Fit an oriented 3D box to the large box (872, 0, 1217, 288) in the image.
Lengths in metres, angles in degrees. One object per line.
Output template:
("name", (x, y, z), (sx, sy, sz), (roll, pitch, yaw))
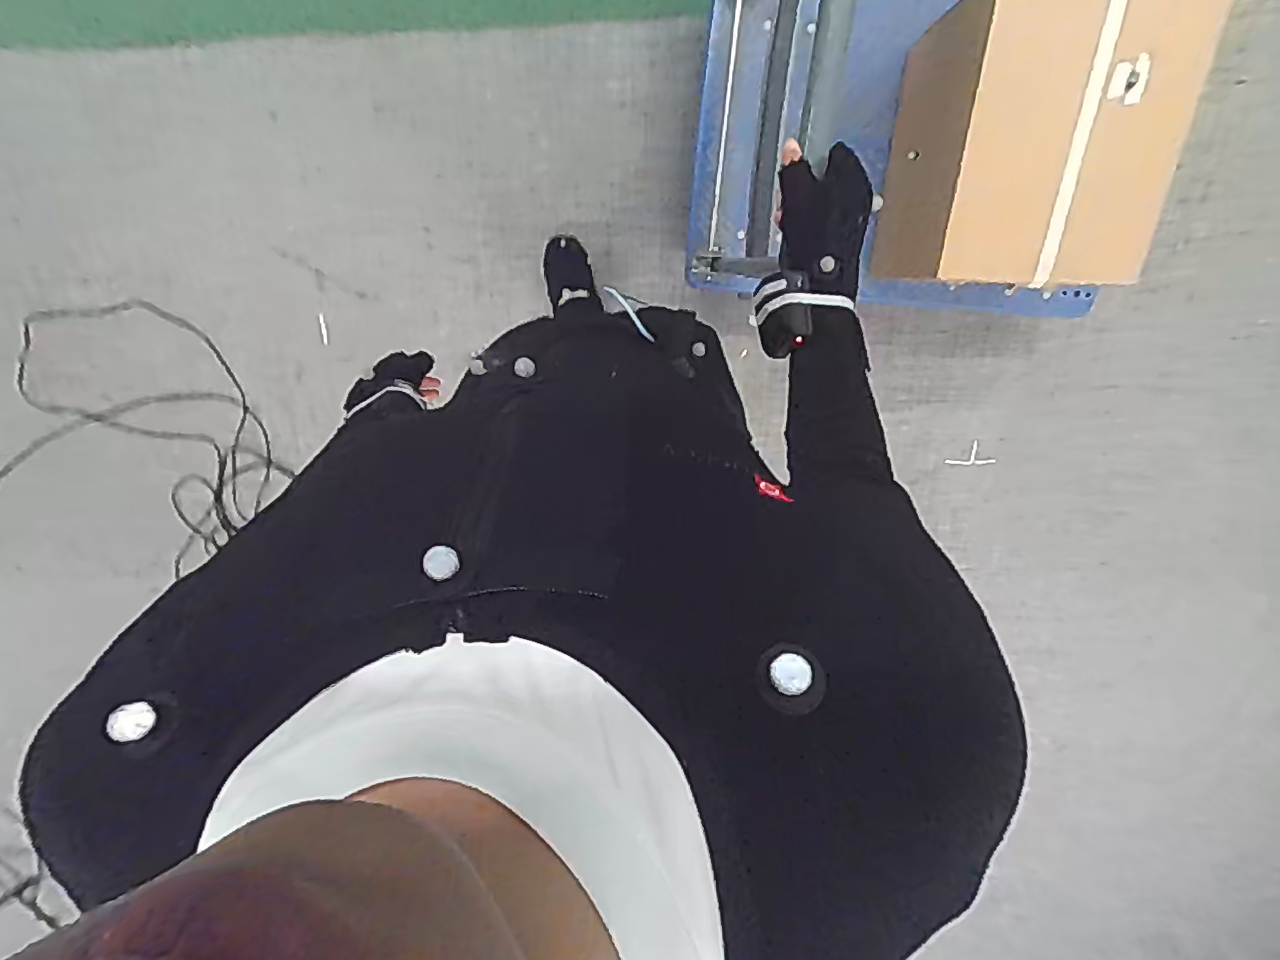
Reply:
("large box", (0.637, -0.549, 0.939), (0.320, 0.320, 0.408), (3, 109, 1))
